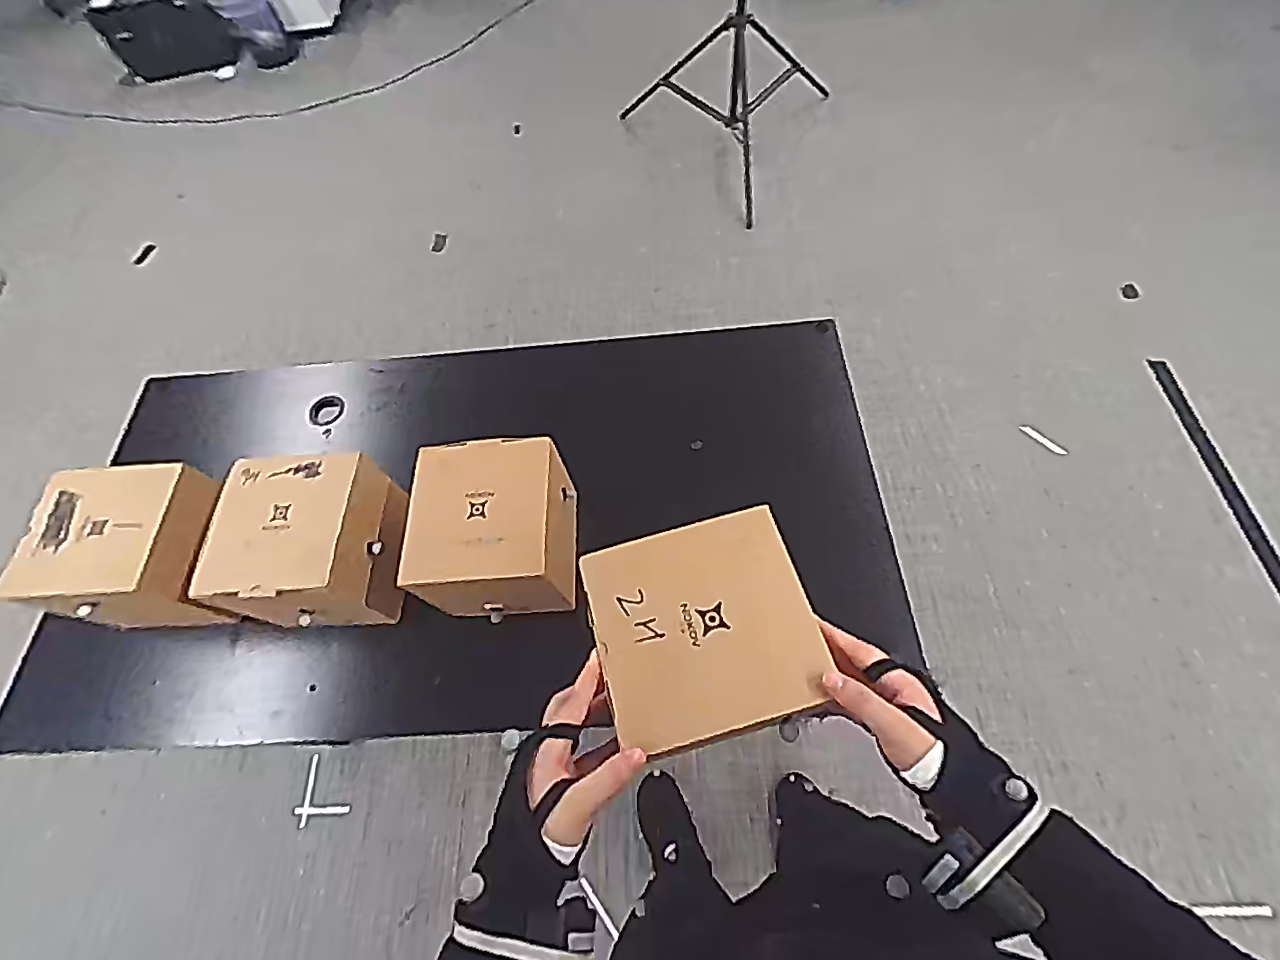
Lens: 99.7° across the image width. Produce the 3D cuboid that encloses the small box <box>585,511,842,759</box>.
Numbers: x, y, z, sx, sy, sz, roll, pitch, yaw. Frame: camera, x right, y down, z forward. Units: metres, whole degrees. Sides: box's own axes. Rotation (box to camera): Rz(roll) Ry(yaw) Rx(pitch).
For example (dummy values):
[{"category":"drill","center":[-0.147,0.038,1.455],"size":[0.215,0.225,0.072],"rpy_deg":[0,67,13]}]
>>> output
[{"category":"small box","center":[0.058,0.152,0.512],"size":[0.179,0.176,0.168],"rpy_deg":[-15,62,-2]}]

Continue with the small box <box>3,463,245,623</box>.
[{"category":"small box","center":[-0.644,0.091,0.723],"size":[0.179,0.176,0.168],"rpy_deg":[-3,64,3]}]

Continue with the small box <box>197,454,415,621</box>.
[{"category":"small box","center":[-0.413,0.084,0.708],"size":[0.168,0.176,0.179],"rpy_deg":[-3,64,2]}]

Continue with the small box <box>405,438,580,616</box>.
[{"category":"small box","center":[-0.175,0.067,0.697],"size":[0.168,0.176,0.179],"rpy_deg":[-5,64,4]}]
